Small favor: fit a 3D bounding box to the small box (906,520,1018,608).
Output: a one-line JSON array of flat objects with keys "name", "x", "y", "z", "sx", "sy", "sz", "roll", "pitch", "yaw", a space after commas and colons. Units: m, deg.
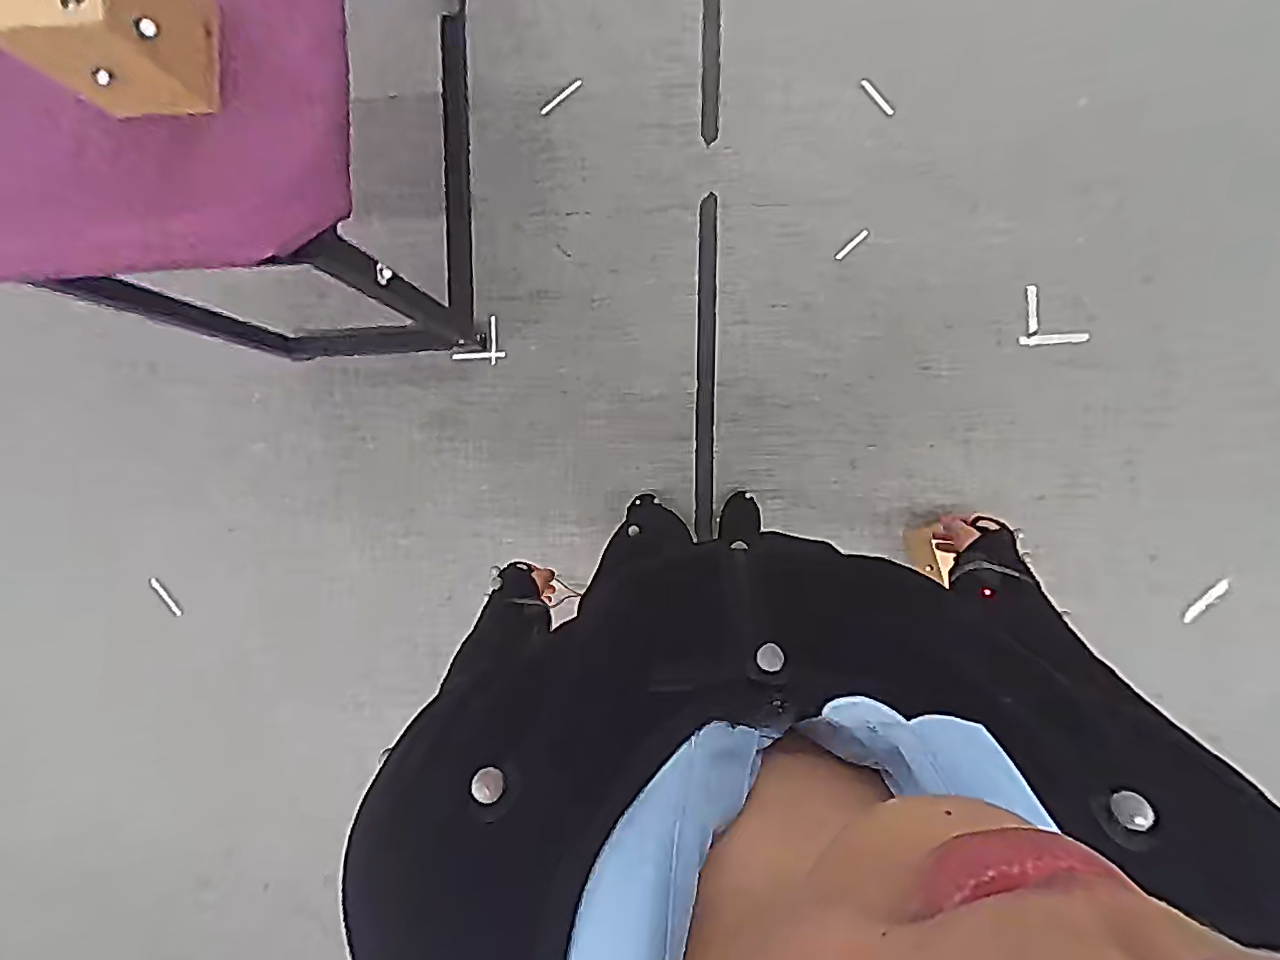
[{"name": "small box", "x": 0.808, "y": 0.204, "z": 1.375, "sx": 0.168, "sy": 0.176, "sz": 0.179, "roll": -16, "pitch": 90, "yaw": 4}]
